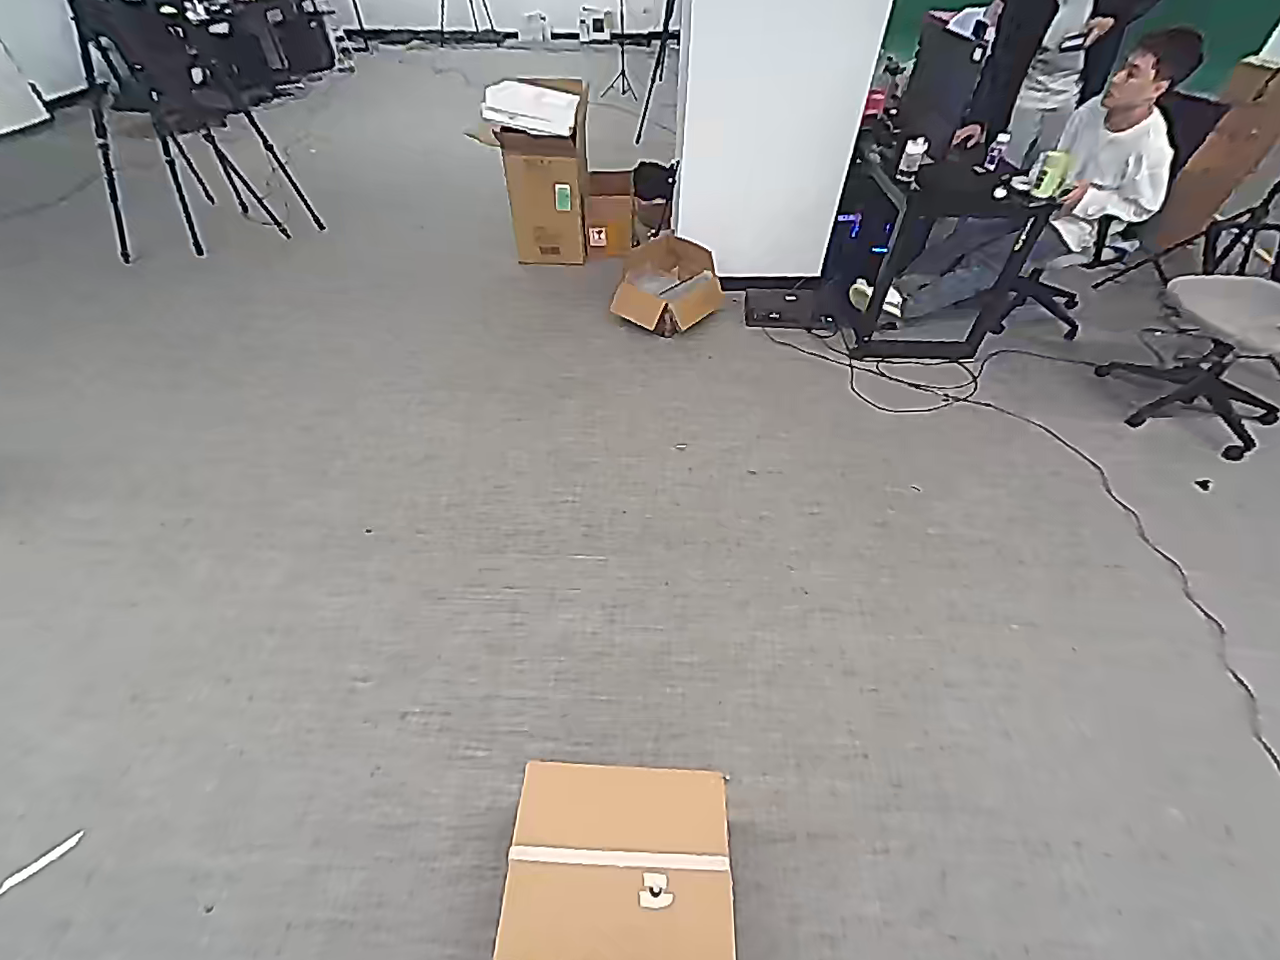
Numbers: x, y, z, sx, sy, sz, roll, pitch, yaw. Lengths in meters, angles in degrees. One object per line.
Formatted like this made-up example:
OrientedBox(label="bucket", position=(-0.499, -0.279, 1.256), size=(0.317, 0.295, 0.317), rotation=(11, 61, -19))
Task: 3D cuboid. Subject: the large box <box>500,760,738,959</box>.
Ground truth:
OrientedBox(label="large box", position=(-0.037, 0.792, 1.100), size=(0.408, 0.320, 0.320), rotation=(3, 47, 0))
